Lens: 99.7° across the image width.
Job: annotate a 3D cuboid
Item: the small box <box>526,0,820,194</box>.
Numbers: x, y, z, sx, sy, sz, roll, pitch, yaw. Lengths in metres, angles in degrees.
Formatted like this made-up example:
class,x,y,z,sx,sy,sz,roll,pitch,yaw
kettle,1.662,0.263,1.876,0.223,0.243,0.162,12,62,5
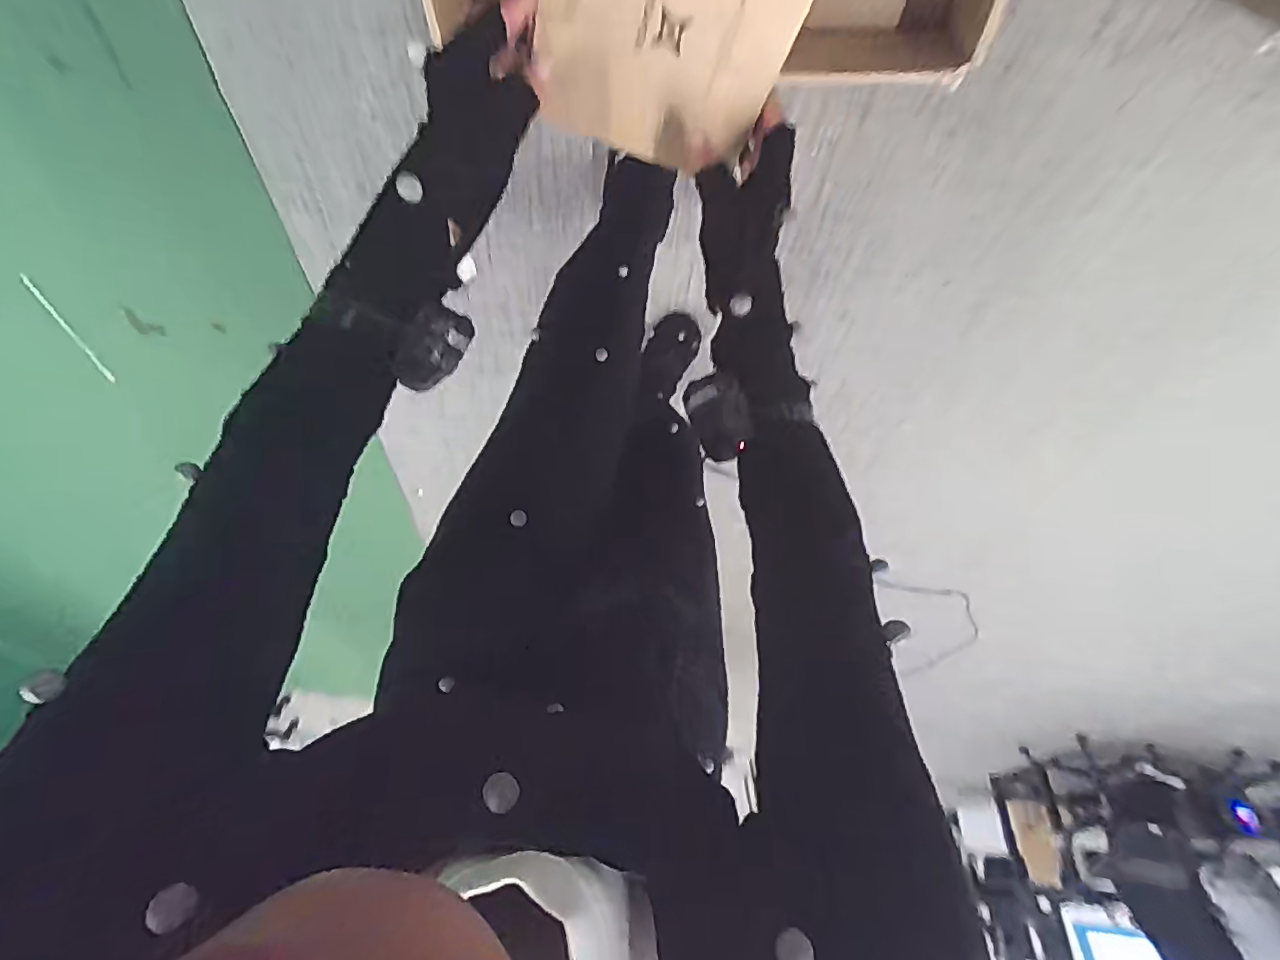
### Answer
class,x,y,z,sx,sy,sz,roll,pitch,yaw
small box,0.018,-0.366,0.419,0.179,0.176,0.168,9,143,-17
